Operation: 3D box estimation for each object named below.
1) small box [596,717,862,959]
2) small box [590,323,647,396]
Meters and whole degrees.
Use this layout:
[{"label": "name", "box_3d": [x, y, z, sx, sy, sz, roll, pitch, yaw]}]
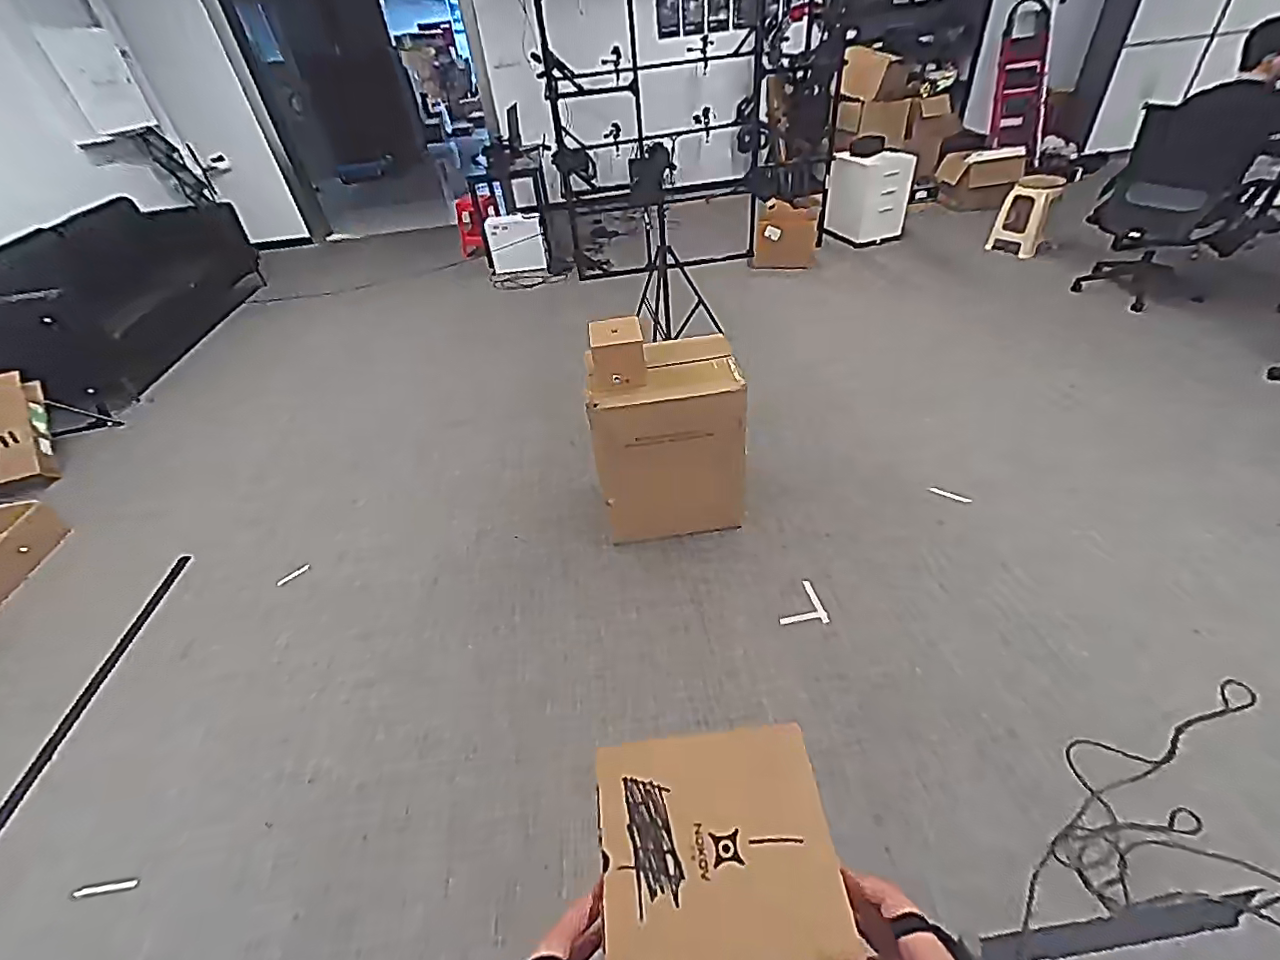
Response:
[{"label": "small box", "box_3d": [0.062, 0.326, 0.467, 0.179, 0.176, 0.168, -7, 47, -1]}, {"label": "small box", "box_3d": [-0.073, -0.398, 1.792, 0.168, 0.176, 0.179, -8, 43, -1]}]
